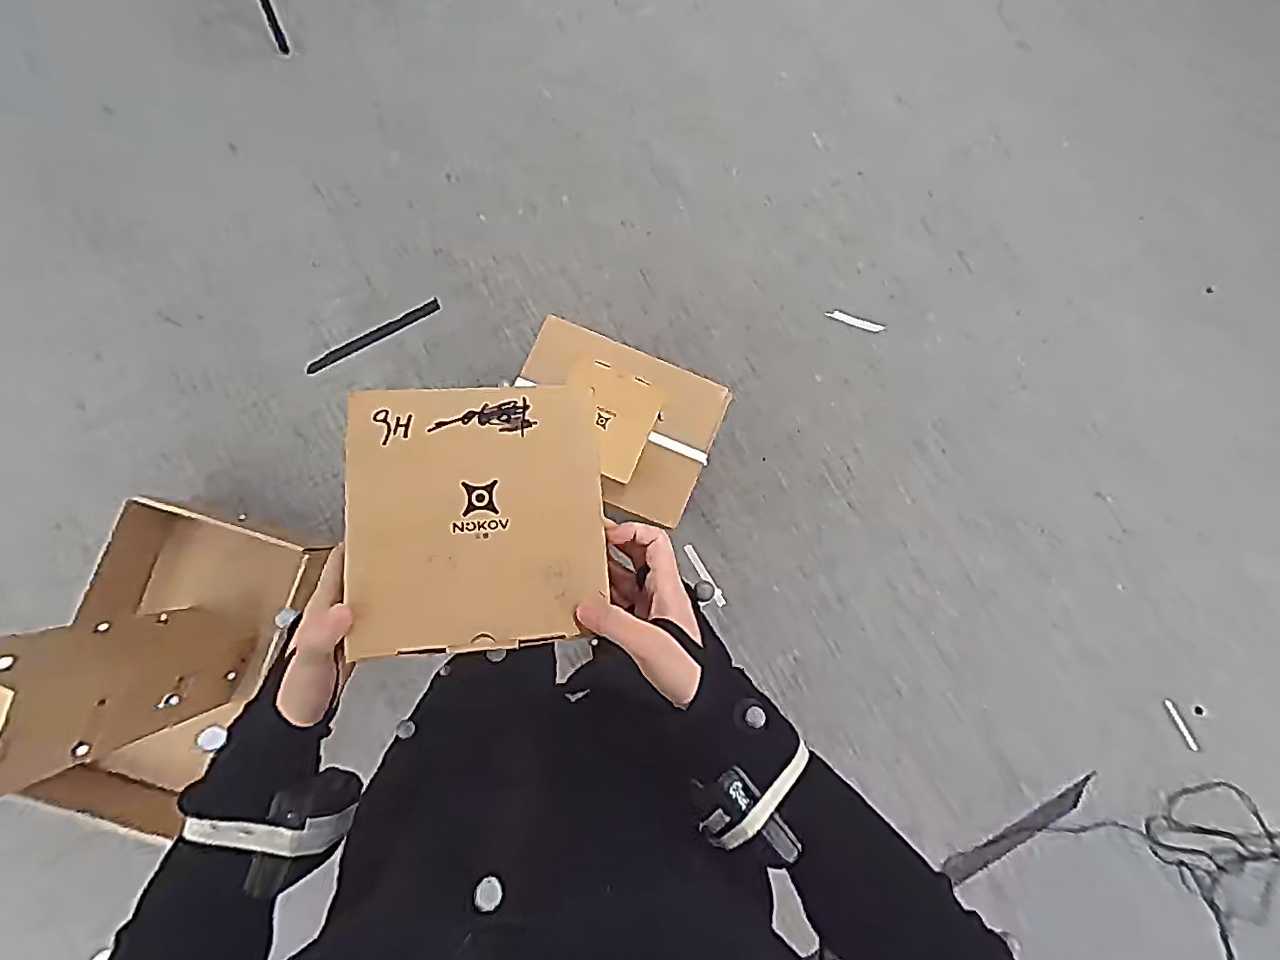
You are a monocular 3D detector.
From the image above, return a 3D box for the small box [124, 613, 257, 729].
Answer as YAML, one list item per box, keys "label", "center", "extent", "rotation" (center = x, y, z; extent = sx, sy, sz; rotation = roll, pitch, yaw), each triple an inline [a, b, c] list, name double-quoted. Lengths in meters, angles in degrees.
- label: "small box"
  center: [-0.968, 0.390, 1.138]
  extent: [0.179, 0.176, 0.168]
  rotation: [21, 83, -1]

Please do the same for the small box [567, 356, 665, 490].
- label: "small box"
  center: [-0.067, -0.092, 0.985]
  extent: [0.168, 0.176, 0.179]
  rotation: [23, 83, -1]

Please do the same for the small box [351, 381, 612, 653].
- label: "small box"
  center: [-0.116, 0.032, 0.437]
  extent: [0.168, 0.176, 0.179]
  rotation: [-3, 79, -11]

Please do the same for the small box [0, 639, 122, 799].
- label: "small box"
  center: [-0.956, 0.352, 0.813]
  extent: [0.179, 0.176, 0.168]
  rotation: [18, 83, 0]

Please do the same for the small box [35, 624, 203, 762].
- label: "small box"
  center: [-0.960, 0.370, 0.977]
  extent: [0.179, 0.176, 0.168]
  rotation: [19, 84, -2]
